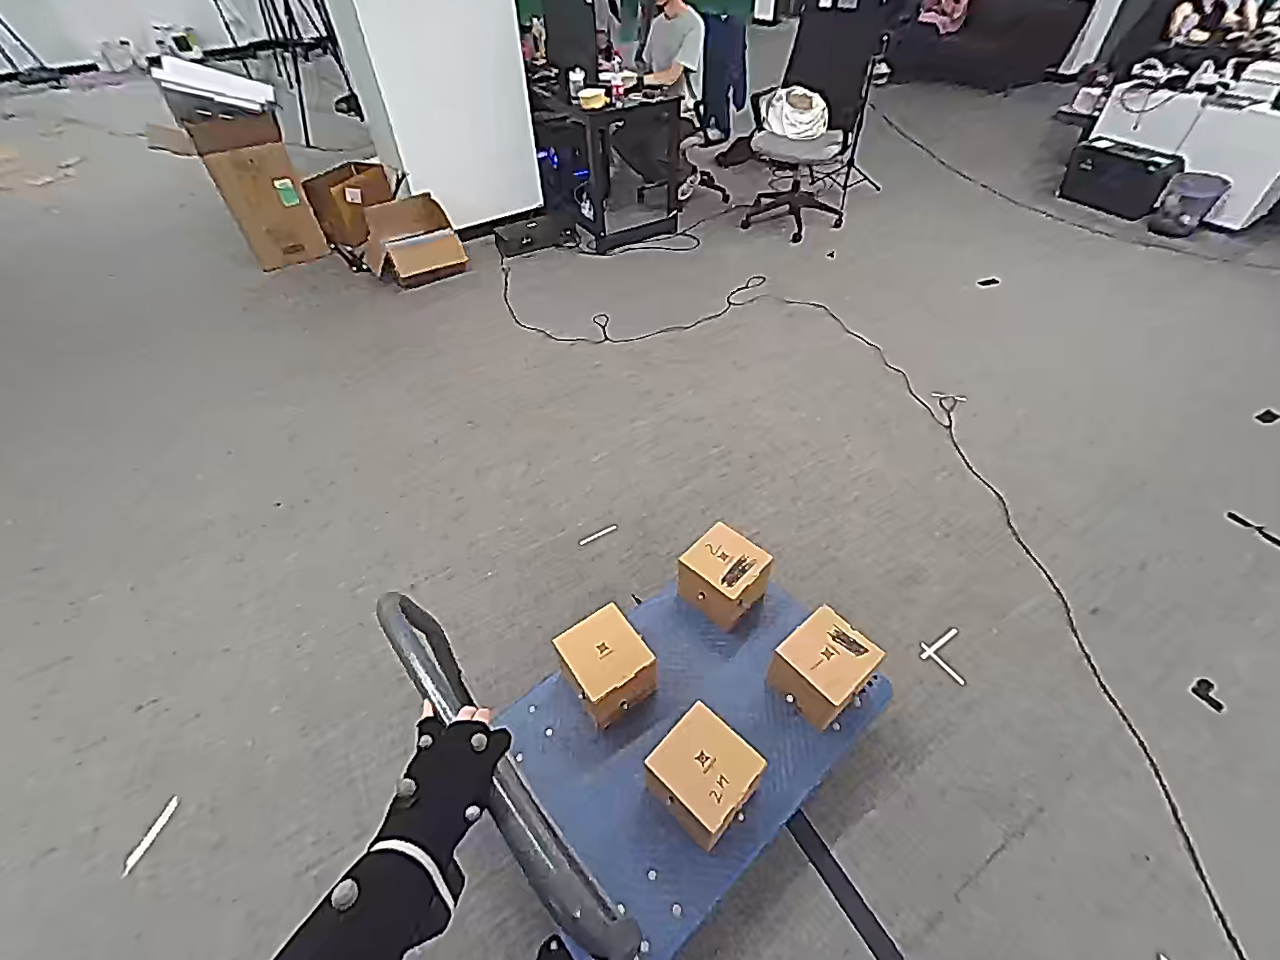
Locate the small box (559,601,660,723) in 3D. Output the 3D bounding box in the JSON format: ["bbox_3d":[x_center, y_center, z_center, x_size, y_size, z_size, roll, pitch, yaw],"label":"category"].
[{"bbox_3d":[-0.070,0.422,1.251,0.168,0.176,0.179,-29,54,-23],"label":"small box"}]

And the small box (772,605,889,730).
[{"bbox_3d":[0.421,0.427,1.227,0.179,0.176,0.168,-32,54,-23],"label":"small box"}]

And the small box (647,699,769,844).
[{"bbox_3d":[0.131,0.589,1.088,0.168,0.176,0.179,-37,56,-27],"label":"small box"}]
